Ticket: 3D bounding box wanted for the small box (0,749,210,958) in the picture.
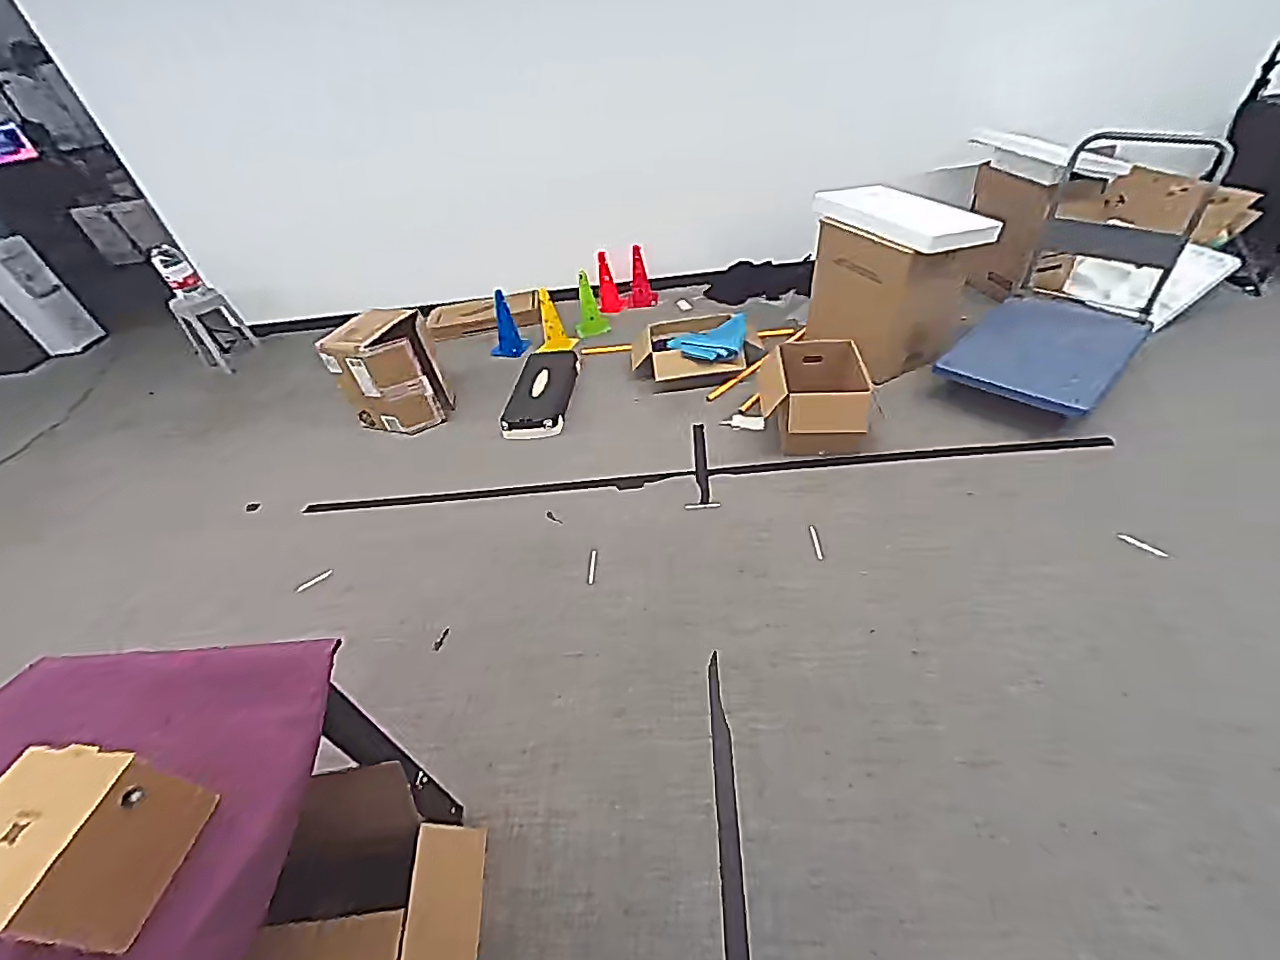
[{"bbox_3d":[-0.695,0.458,0.665,0.168,0.176,0.179,-1,42,9],"label":"small box"}]
